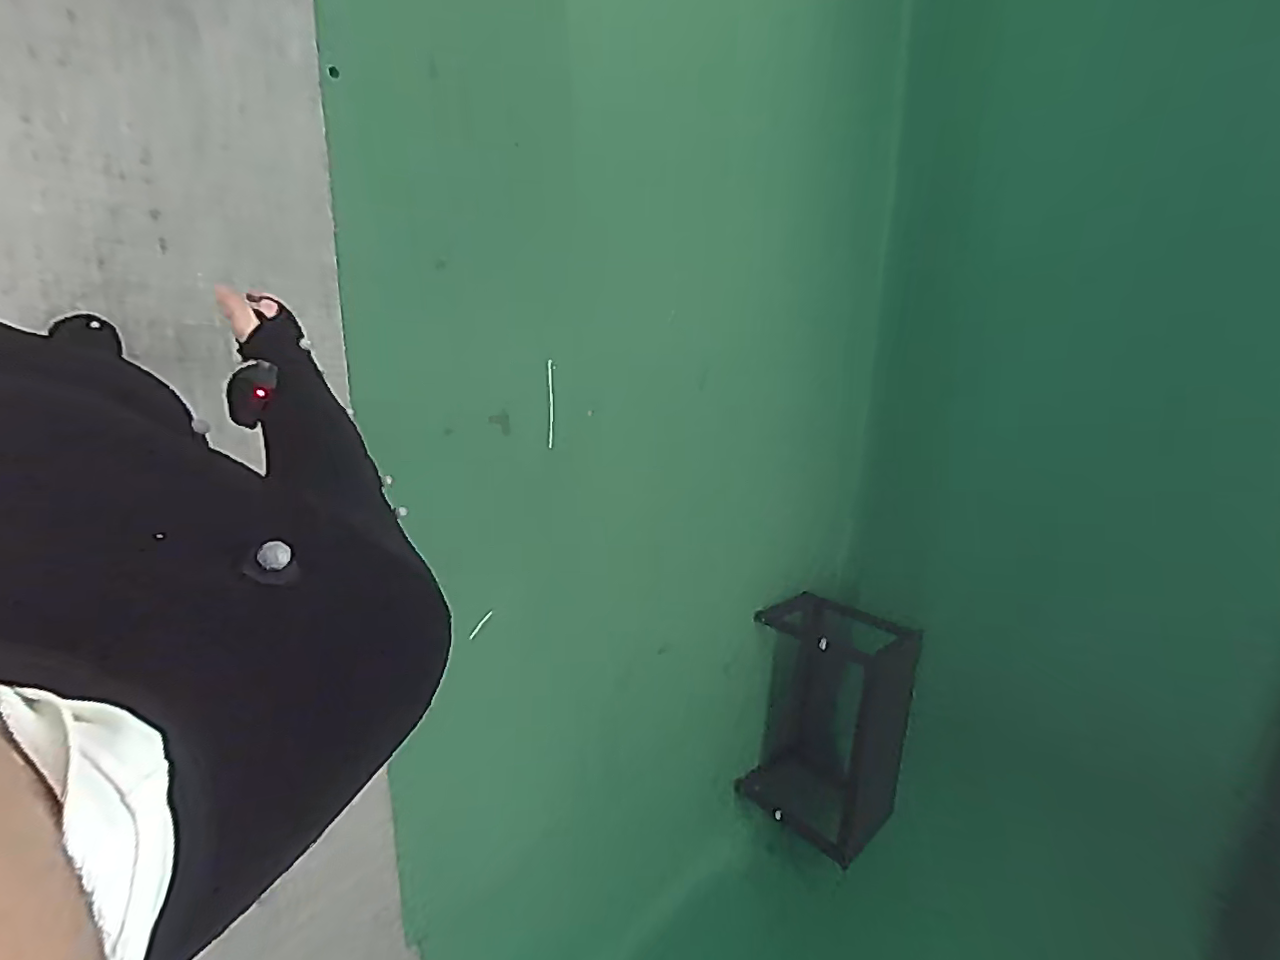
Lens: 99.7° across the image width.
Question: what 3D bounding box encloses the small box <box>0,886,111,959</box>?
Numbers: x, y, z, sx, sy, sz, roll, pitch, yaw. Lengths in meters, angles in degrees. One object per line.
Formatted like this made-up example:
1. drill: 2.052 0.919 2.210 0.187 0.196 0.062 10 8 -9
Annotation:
1. small box: -1.316 1.069 1.203 0.168 0.176 0.179 -19 114 -39

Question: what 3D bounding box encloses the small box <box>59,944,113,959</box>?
1. small box: -1.190 1.112 1.103 0.168 0.176 0.179 -18 114 -39
